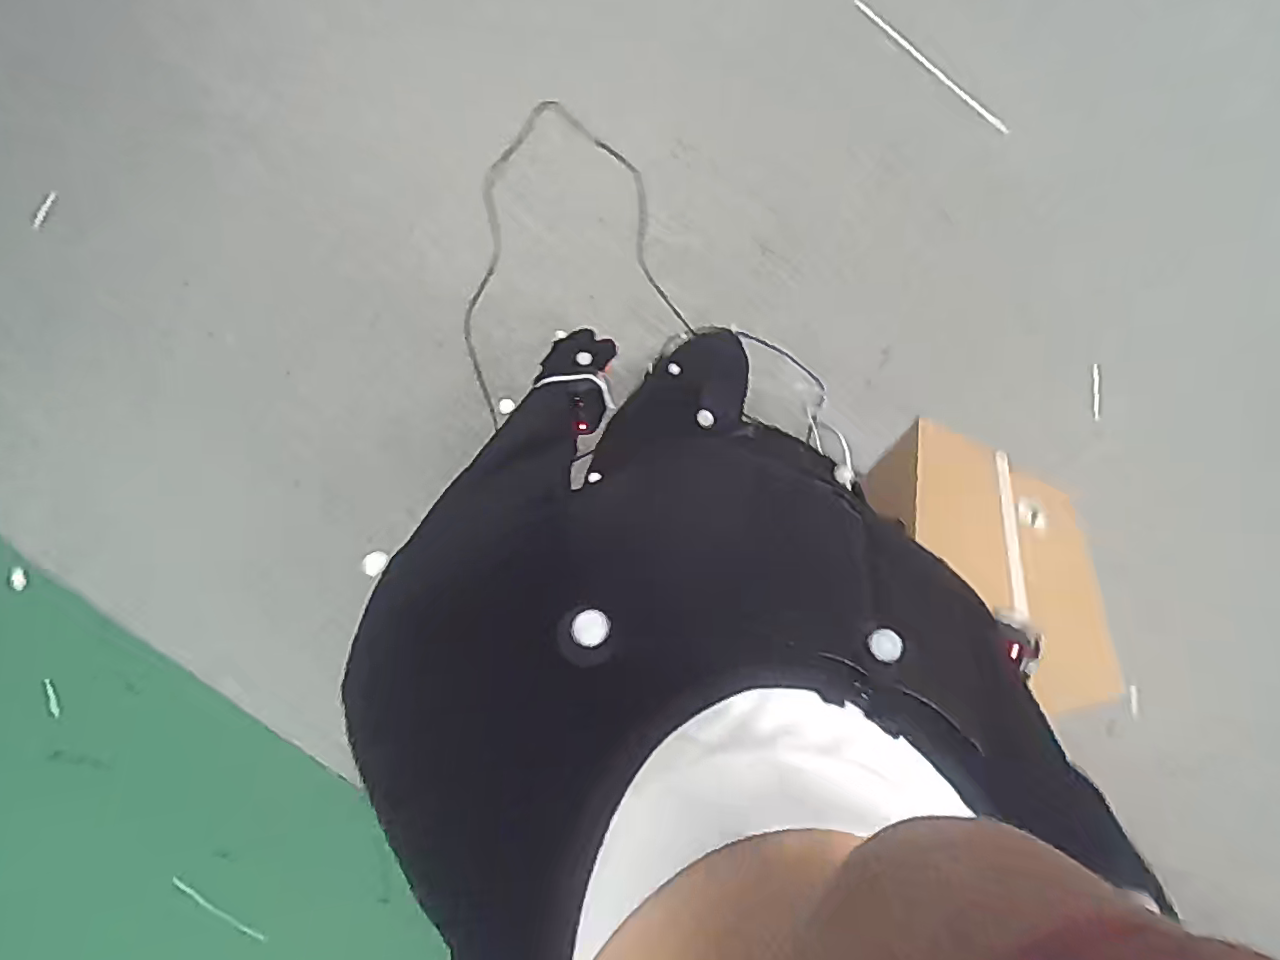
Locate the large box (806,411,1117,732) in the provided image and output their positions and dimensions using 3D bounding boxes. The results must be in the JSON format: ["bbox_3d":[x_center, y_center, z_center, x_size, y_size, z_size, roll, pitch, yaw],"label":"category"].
[{"bbox_3d":[0.530,0.160,0.968,0.320,0.408,0.320,27,138,2],"label":"large box"}]
